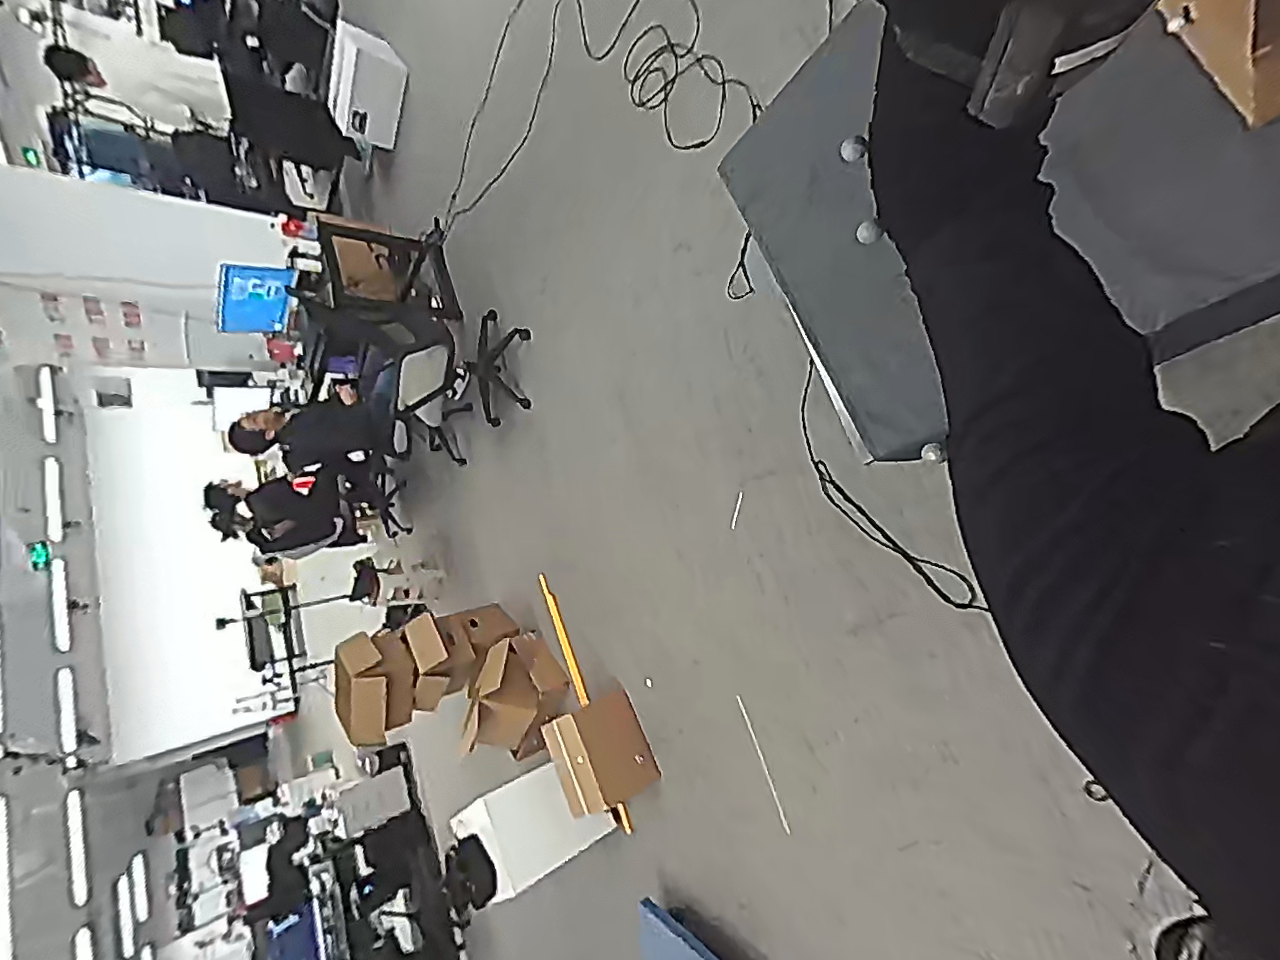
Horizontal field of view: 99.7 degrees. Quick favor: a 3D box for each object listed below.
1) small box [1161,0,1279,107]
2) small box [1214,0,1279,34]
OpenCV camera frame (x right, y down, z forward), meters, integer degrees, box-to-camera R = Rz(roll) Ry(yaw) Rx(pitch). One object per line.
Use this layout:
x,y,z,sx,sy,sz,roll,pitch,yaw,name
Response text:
0.550,-0.441,0.429,0.168,0.176,0.179,-35,68,45,small box
0.429,-0.428,0.322,0.168,0.176,0.179,-34,69,46,small box
